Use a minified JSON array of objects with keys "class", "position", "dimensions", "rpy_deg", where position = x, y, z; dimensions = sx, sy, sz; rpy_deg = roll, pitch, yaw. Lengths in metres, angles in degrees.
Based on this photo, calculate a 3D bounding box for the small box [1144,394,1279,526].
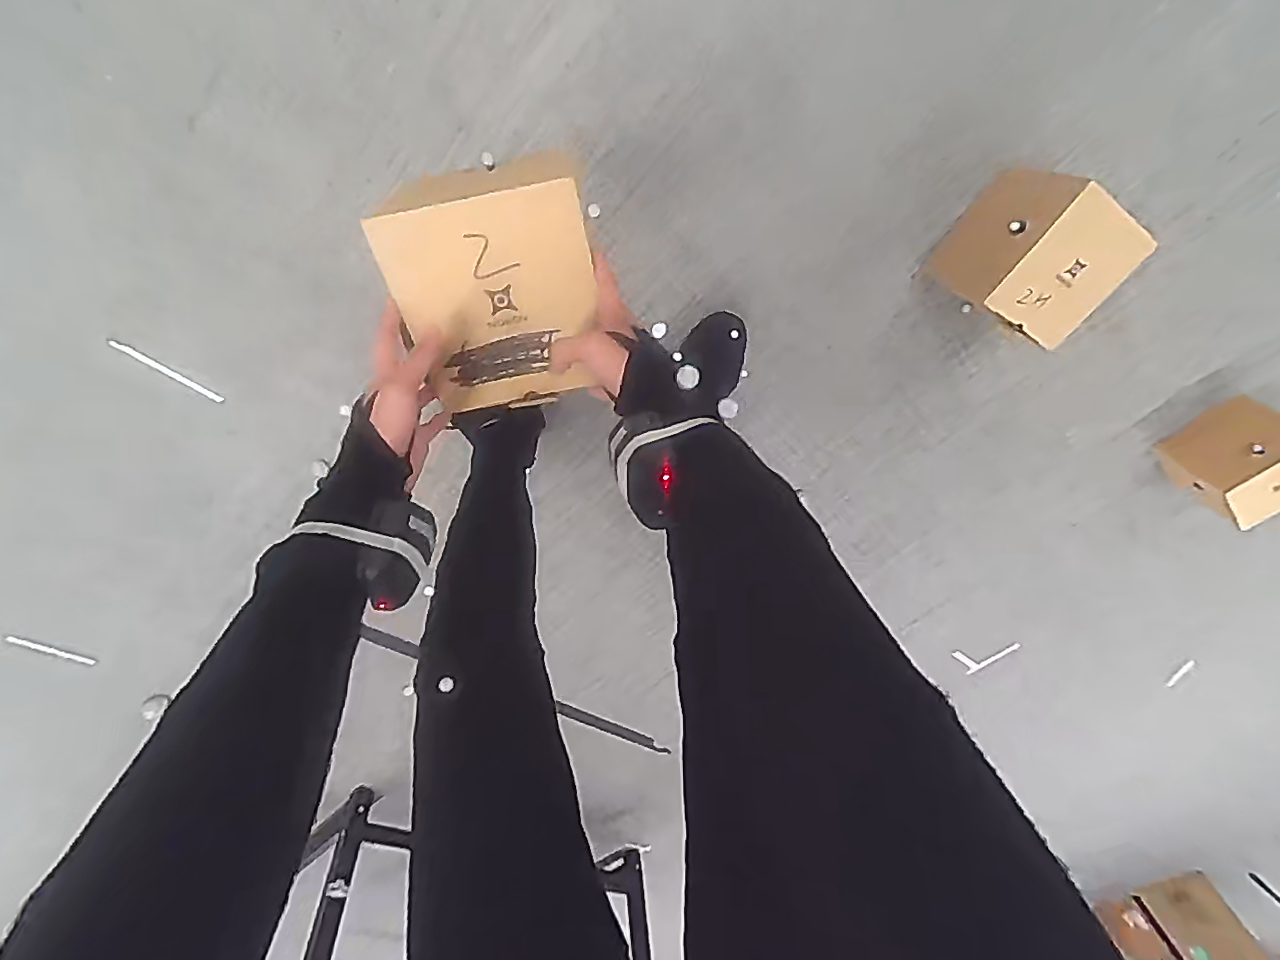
[{"class":"small box","position":[1.214,-0.043,1.131],"dimensions":[0.168,0.176,0.179],"rpy_deg":[35,116,-29]}]

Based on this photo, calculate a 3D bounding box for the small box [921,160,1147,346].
[{"class":"small box","position":[0.565,-0.339,0.800],"dimensions":[0.168,0.176,0.179],"rpy_deg":[22,122,-23]}]
